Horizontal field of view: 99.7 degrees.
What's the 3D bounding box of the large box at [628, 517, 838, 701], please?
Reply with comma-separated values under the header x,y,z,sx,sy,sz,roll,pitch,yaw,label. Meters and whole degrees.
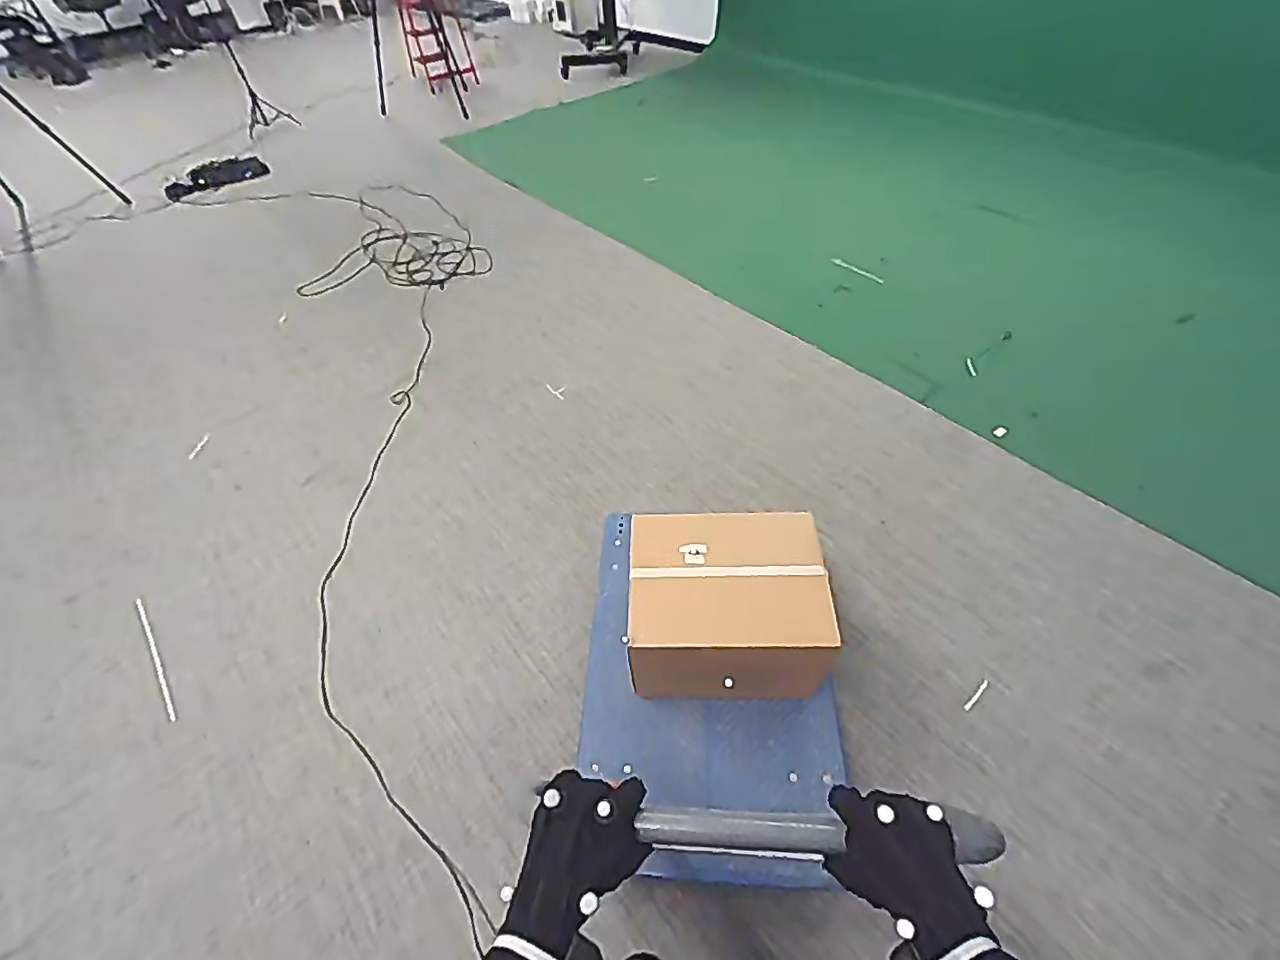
x,y,z,sx,sy,sz,roll,pitch,yaw,label
0.187,0.302,1.234,0.408,0.320,0.320,-2,50,3,large box
